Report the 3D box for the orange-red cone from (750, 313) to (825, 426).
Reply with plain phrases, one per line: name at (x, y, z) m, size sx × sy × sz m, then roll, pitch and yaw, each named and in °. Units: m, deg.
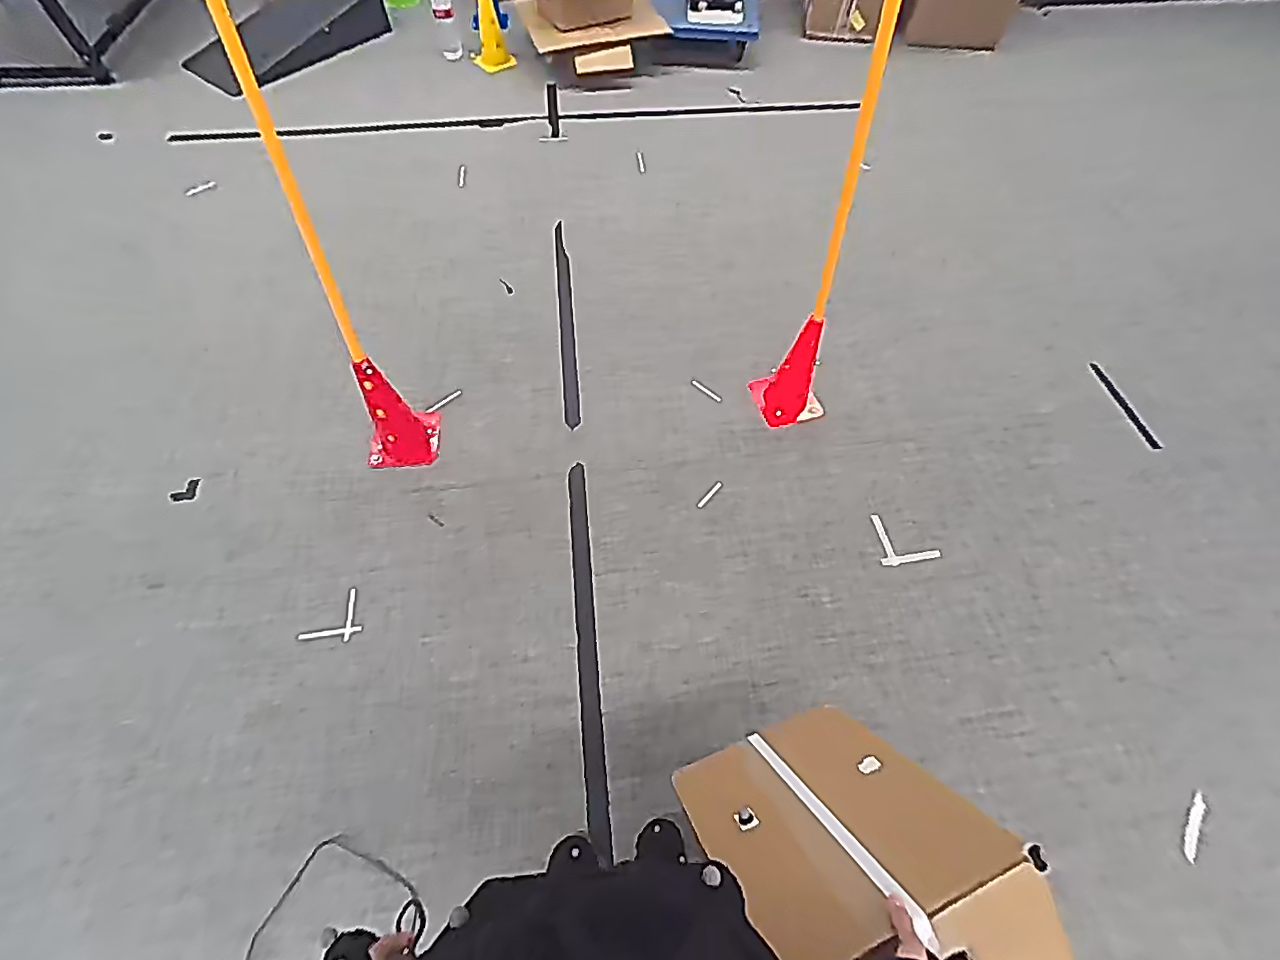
orange-red cone at (0.482, -0.354, 1.620) m, size 0.199 × 0.360 × 0.198 m, roll -13°, pitch 61°, yaw -10°
